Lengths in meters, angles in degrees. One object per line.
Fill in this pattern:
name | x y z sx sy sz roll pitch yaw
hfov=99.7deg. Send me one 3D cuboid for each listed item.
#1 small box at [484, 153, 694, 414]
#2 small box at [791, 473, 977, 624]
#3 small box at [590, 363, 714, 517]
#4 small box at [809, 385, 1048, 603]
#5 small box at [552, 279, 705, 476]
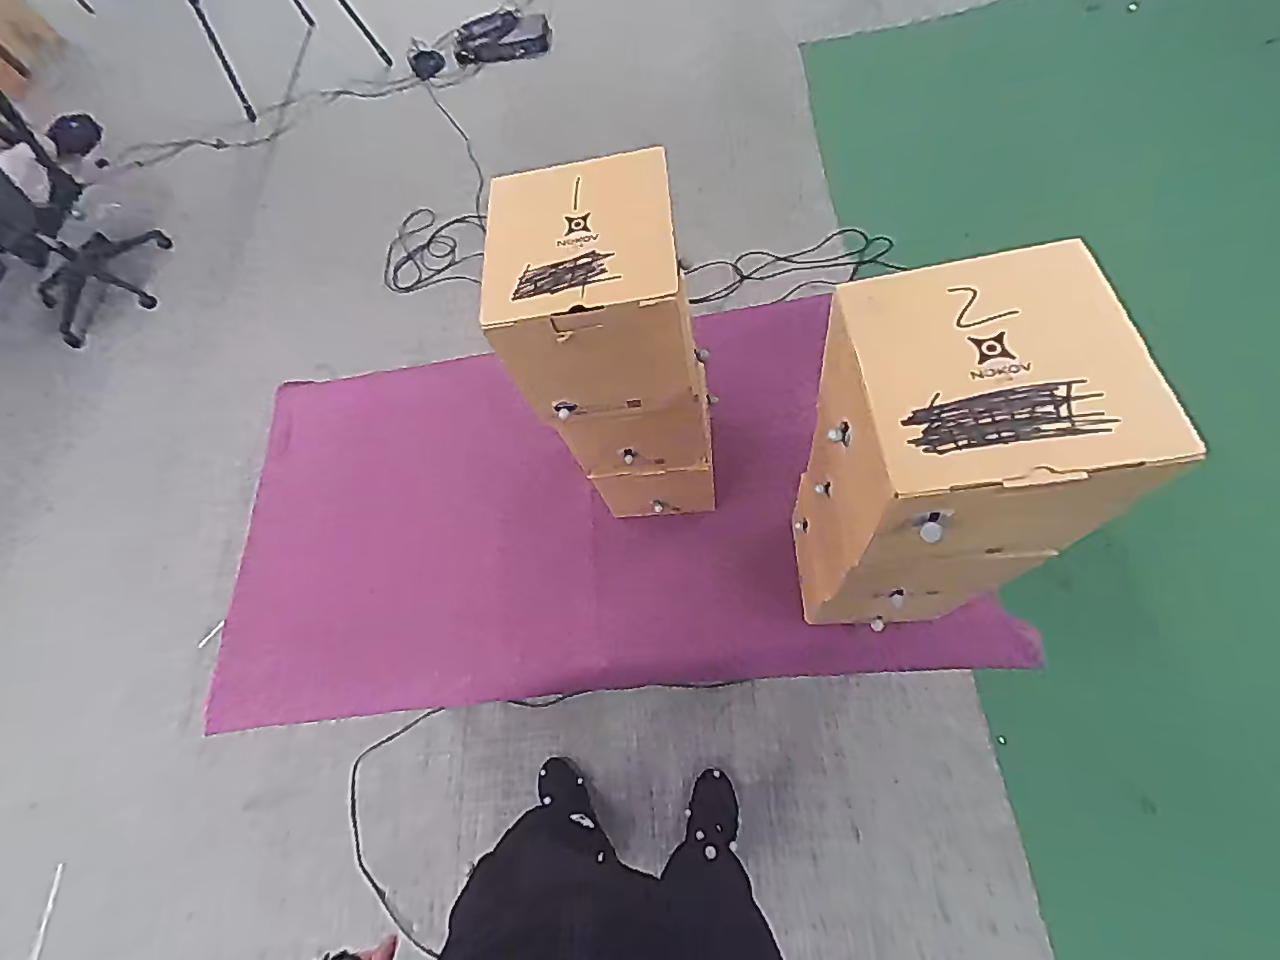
small box | -0.039 -0.178 0.538 0.168 0.176 0.179 -6 66 7
small box | 0.304 0.094 0.717 0.179 0.176 0.168 -4 65 9
small box | 0.026 -0.055 0.834 0.168 0.176 0.179 -4 66 9
small box | 0.278 0.024 0.571 0.168 0.176 0.179 -5 66 10
small box | -0.008 -0.123 0.690 0.168 0.176 0.179 -7 67 7
